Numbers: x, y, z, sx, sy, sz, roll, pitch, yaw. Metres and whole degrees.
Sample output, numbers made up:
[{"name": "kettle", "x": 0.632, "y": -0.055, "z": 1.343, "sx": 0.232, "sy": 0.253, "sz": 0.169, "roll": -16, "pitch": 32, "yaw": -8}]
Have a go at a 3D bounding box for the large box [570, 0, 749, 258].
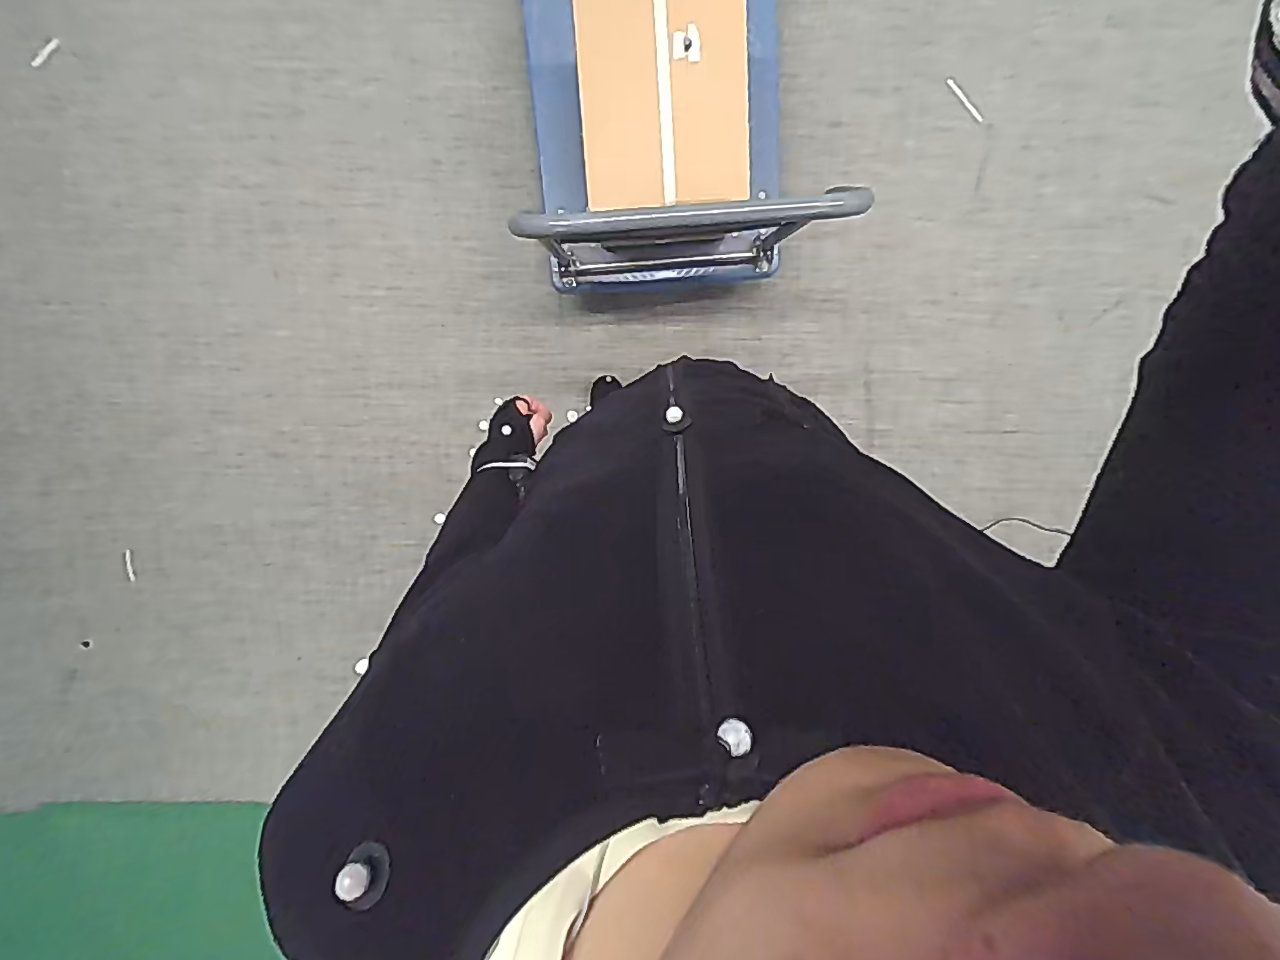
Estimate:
[{"name": "large box", "x": 0.044, "y": -0.728, "z": 1.153, "sx": 0.320, "sy": 0.320, "sz": 0.408, "roll": -4, "pitch": 100, "yaw": 1}]
